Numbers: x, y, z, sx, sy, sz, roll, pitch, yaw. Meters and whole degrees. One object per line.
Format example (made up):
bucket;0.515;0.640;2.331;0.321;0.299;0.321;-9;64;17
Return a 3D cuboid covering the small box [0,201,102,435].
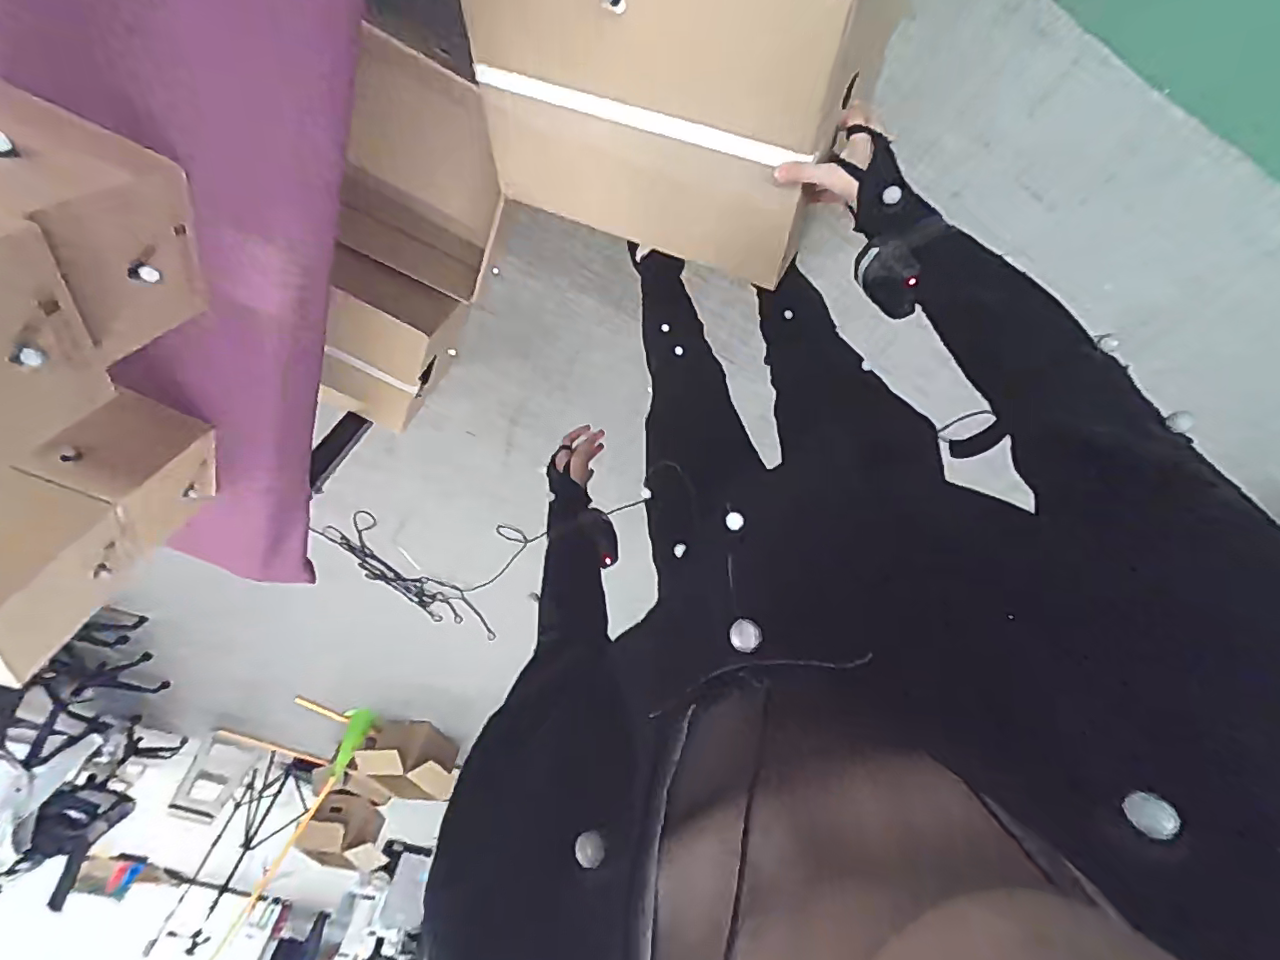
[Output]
small box;-0.563;-0.118;0.382;0.179;0.176;0.168;18;133;-6

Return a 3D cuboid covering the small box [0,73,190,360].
small box;-0.559;-0.240;0.495;0.179;0.176;0.168;23;131;-10

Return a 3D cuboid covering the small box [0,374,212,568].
small box;-0.723;-0.020;0.722;0.179;0.176;0.168;26;130;-15
